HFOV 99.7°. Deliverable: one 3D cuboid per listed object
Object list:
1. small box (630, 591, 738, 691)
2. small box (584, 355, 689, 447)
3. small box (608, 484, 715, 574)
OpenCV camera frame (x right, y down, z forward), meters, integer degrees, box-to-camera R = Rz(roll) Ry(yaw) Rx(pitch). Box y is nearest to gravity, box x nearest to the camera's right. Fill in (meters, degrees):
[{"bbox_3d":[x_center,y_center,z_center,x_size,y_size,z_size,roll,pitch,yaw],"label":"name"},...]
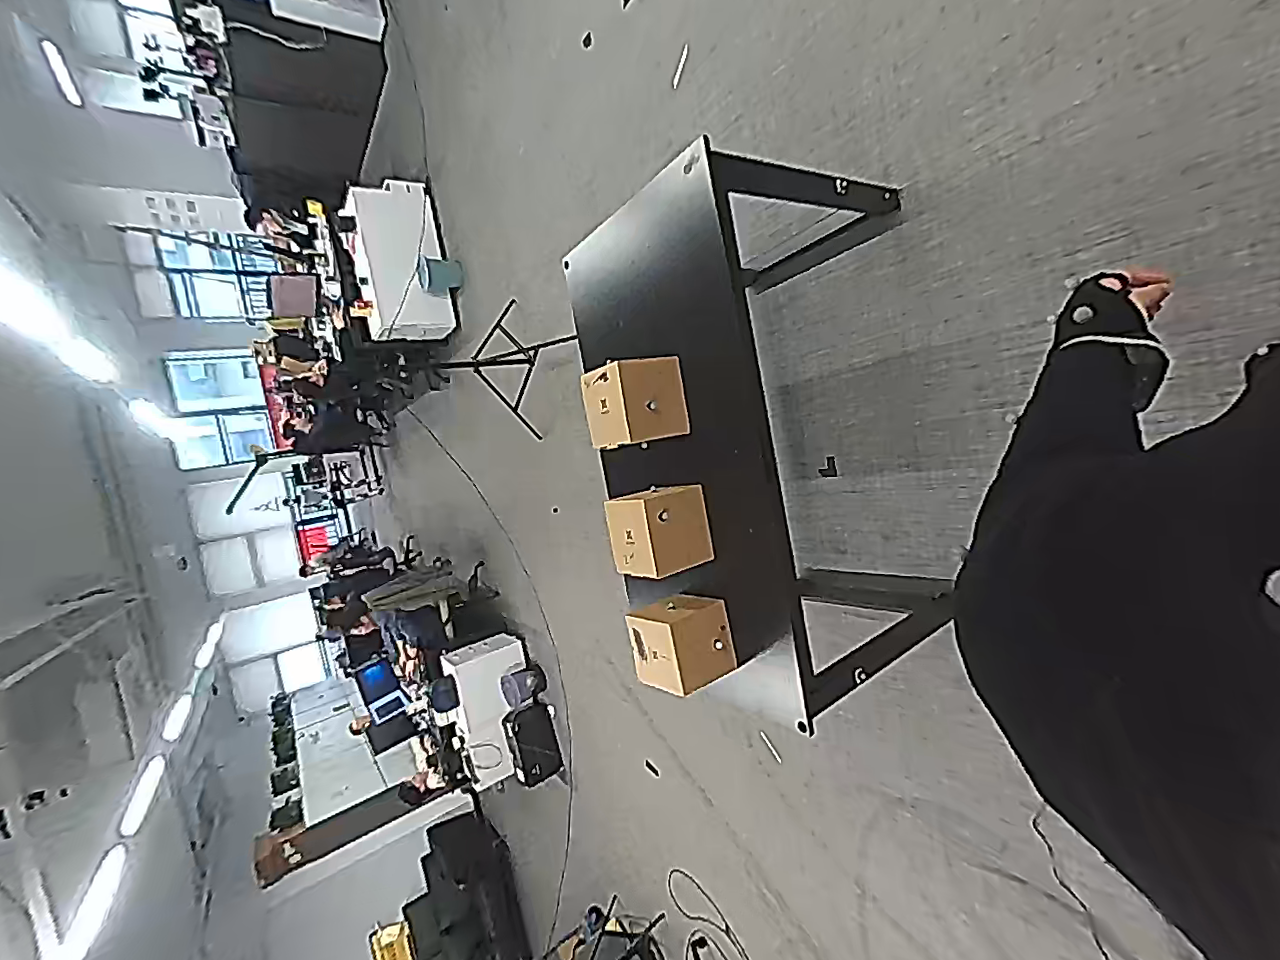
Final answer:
[{"bbox_3d":[0.103,0.368,1.273,0.179,0.176,0.168,-9,93,55],"label":"small box"},{"bbox_3d":[-0.005,-0.181,1.242,0.168,0.176,0.179,-3,99,56],"label":"small box"},{"bbox_3d":[0.050,0.107,1.259,0.168,0.176,0.179,-7,96,56],"label":"small box"}]
